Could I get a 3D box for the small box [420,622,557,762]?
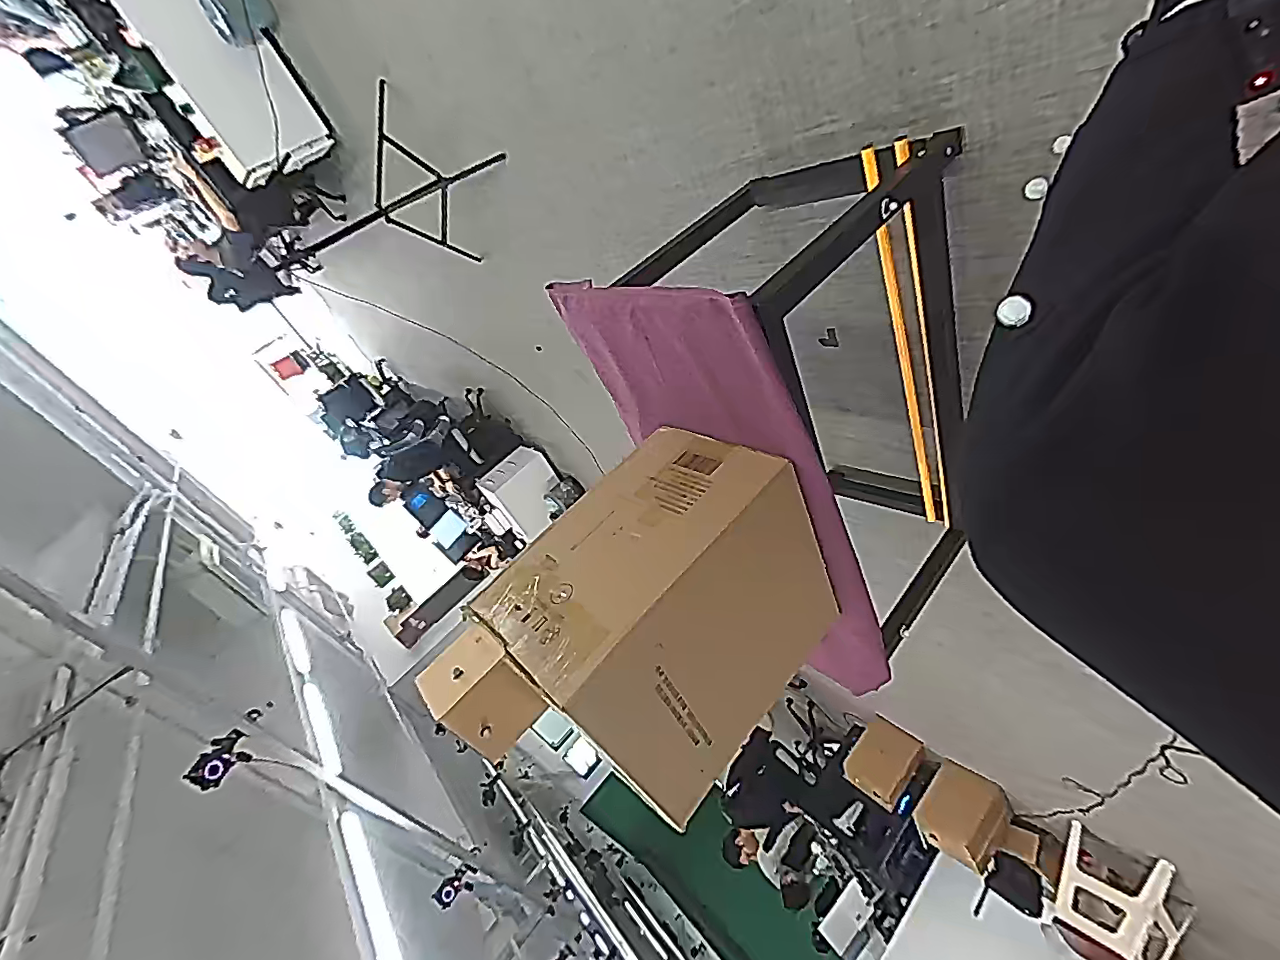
[{"bbox_3d":[-0.305,0.421,1.102,0.168,0.176,0.179,17,146,53],"label":"small box"}]
